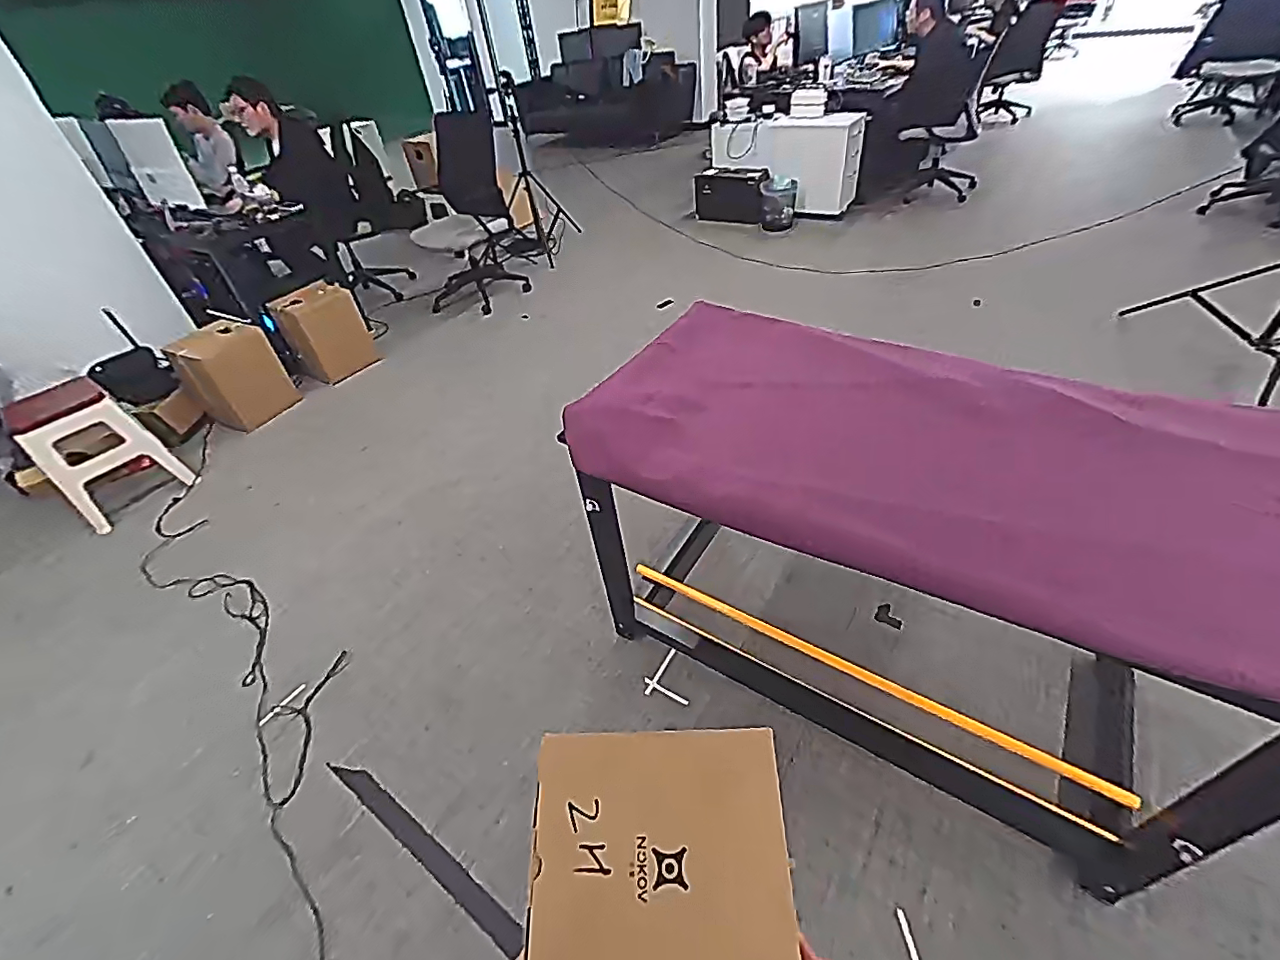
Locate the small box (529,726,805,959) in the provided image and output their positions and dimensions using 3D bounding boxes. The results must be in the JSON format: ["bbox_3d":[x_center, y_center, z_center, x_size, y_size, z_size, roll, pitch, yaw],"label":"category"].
[{"bbox_3d":[0.023,0.296,0.434,0.179,0.176,0.168,-4,58,5],"label":"small box"}]
